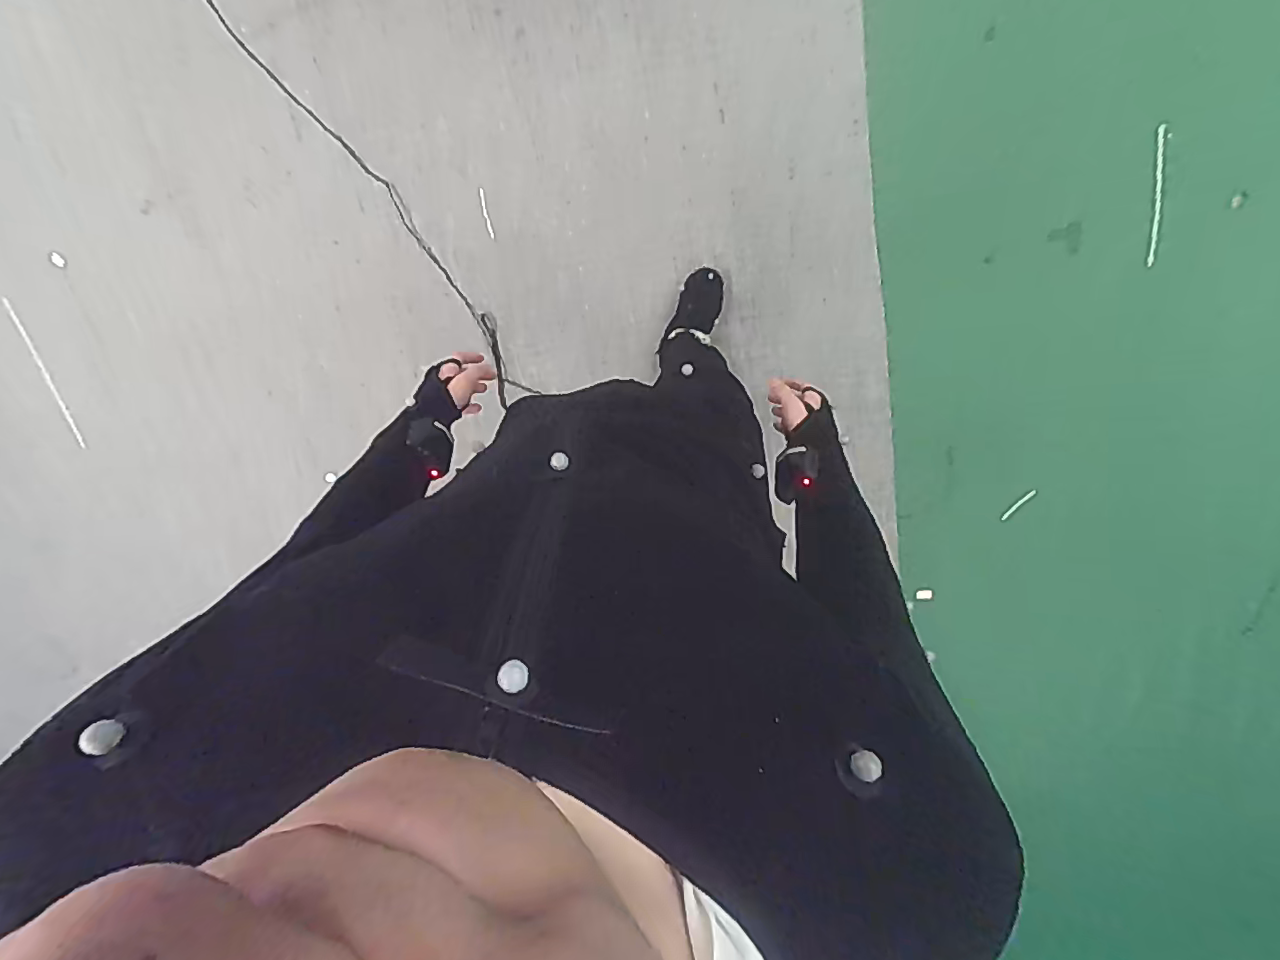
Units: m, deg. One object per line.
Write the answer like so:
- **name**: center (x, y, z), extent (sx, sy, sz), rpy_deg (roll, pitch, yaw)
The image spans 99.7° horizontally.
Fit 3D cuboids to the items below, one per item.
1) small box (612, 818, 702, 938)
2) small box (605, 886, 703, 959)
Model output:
- **small box**: center (0.041, 0.901, 1.228), extent (0.168, 0.176, 0.179), rpy_deg (-12, 108, 8)
- **small box**: center (0.034, 0.954, 1.074), extent (0.168, 0.176, 0.179), rpy_deg (-11, 107, 7)
